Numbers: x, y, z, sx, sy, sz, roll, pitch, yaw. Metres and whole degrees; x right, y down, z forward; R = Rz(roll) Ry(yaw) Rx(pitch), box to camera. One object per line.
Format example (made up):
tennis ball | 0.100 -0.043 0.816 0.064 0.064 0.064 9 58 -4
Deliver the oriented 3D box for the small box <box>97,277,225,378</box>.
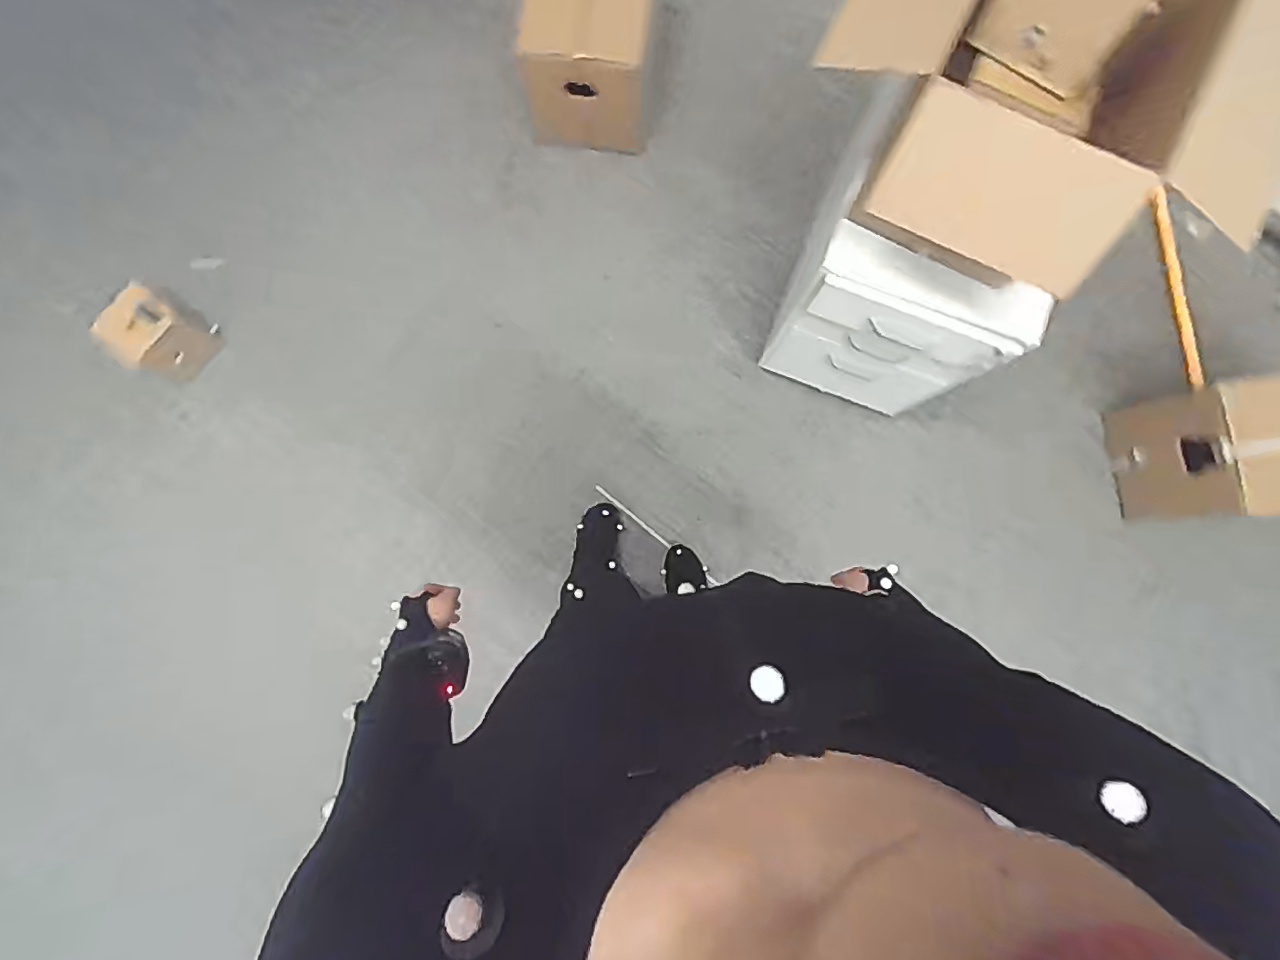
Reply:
small box | -1.302 -0.412 1.492 0.168 0.176 0.179 41 86 4
